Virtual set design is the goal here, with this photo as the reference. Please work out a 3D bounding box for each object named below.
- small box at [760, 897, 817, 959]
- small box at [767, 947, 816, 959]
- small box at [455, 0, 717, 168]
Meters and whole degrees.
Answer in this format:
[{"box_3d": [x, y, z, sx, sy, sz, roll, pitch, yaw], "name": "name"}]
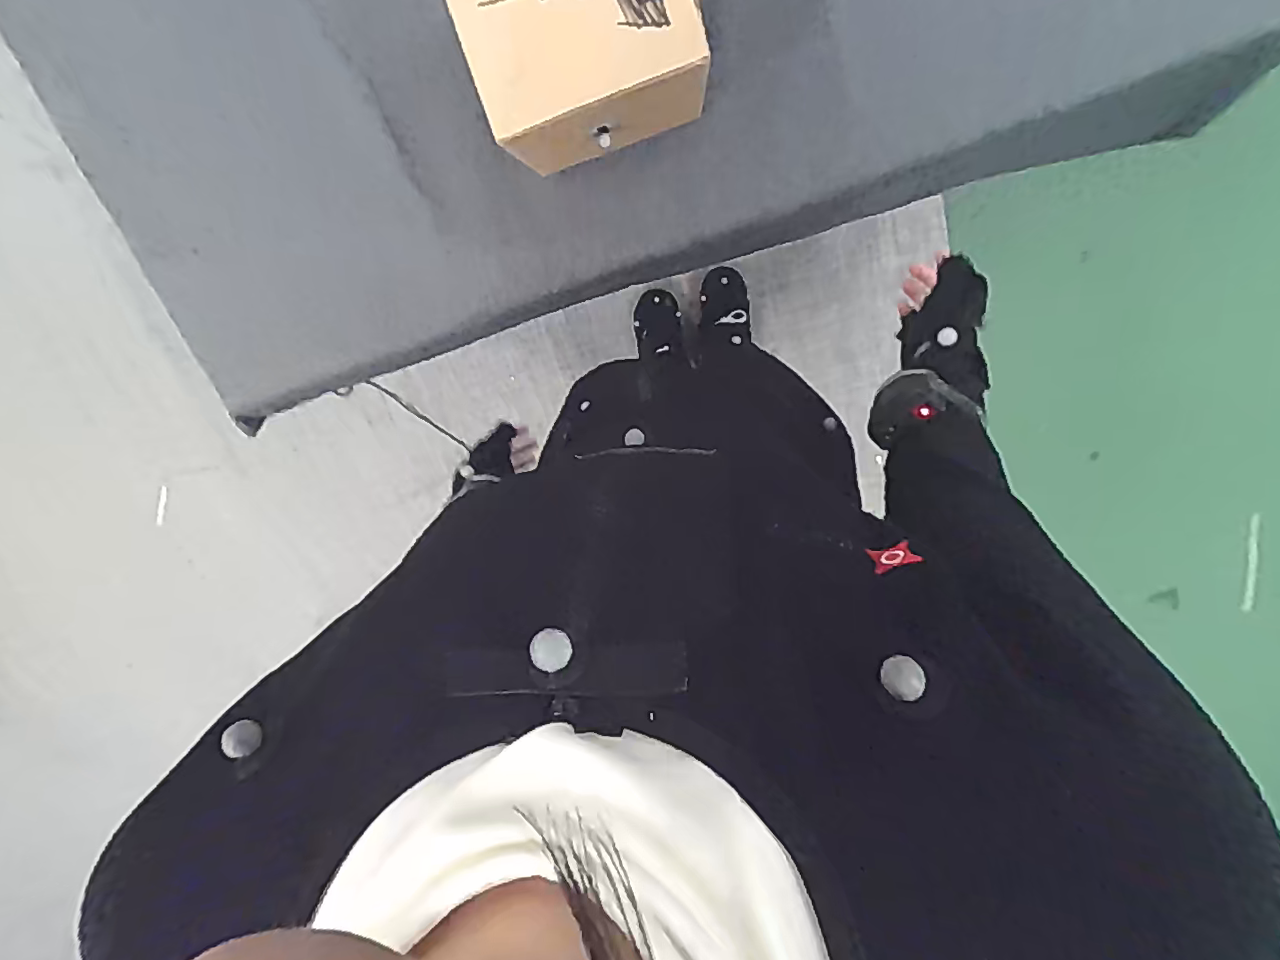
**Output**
[{"box_3d": [0.564, 1.740, 2.064, 0.179, 0.176, 0.168, -15, 111, 8], "name": "small box"}, {"box_3d": [0.551, 1.800, 1.912, 0.179, 0.176, 0.168, -13, 111, 9], "name": "small box"}, {"box_3d": [-0.049, -0.397, 0.462, 0.179, 0.176, 0.168, -19, 109, 9], "name": "small box"}]
